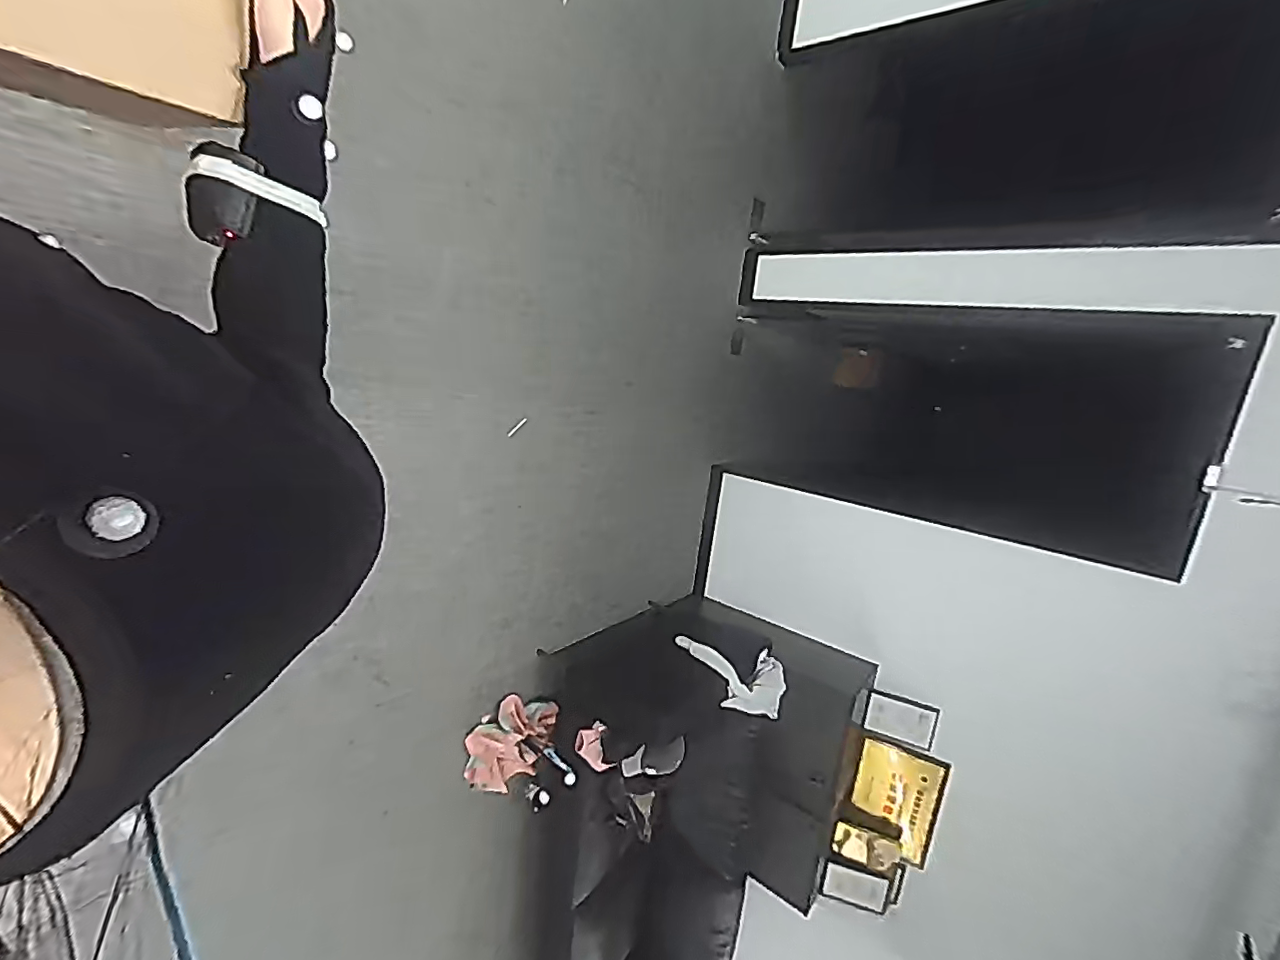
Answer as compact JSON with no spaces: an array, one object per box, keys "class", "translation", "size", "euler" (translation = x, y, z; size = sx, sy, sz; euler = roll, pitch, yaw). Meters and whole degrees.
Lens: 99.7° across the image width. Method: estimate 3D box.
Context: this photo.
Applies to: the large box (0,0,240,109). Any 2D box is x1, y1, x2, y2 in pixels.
[{"class":"large box","translation":[-0.520,-0.458,0.308],"size":[0.408,0.320,0.320],"euler":[-12,121,-50]}]
